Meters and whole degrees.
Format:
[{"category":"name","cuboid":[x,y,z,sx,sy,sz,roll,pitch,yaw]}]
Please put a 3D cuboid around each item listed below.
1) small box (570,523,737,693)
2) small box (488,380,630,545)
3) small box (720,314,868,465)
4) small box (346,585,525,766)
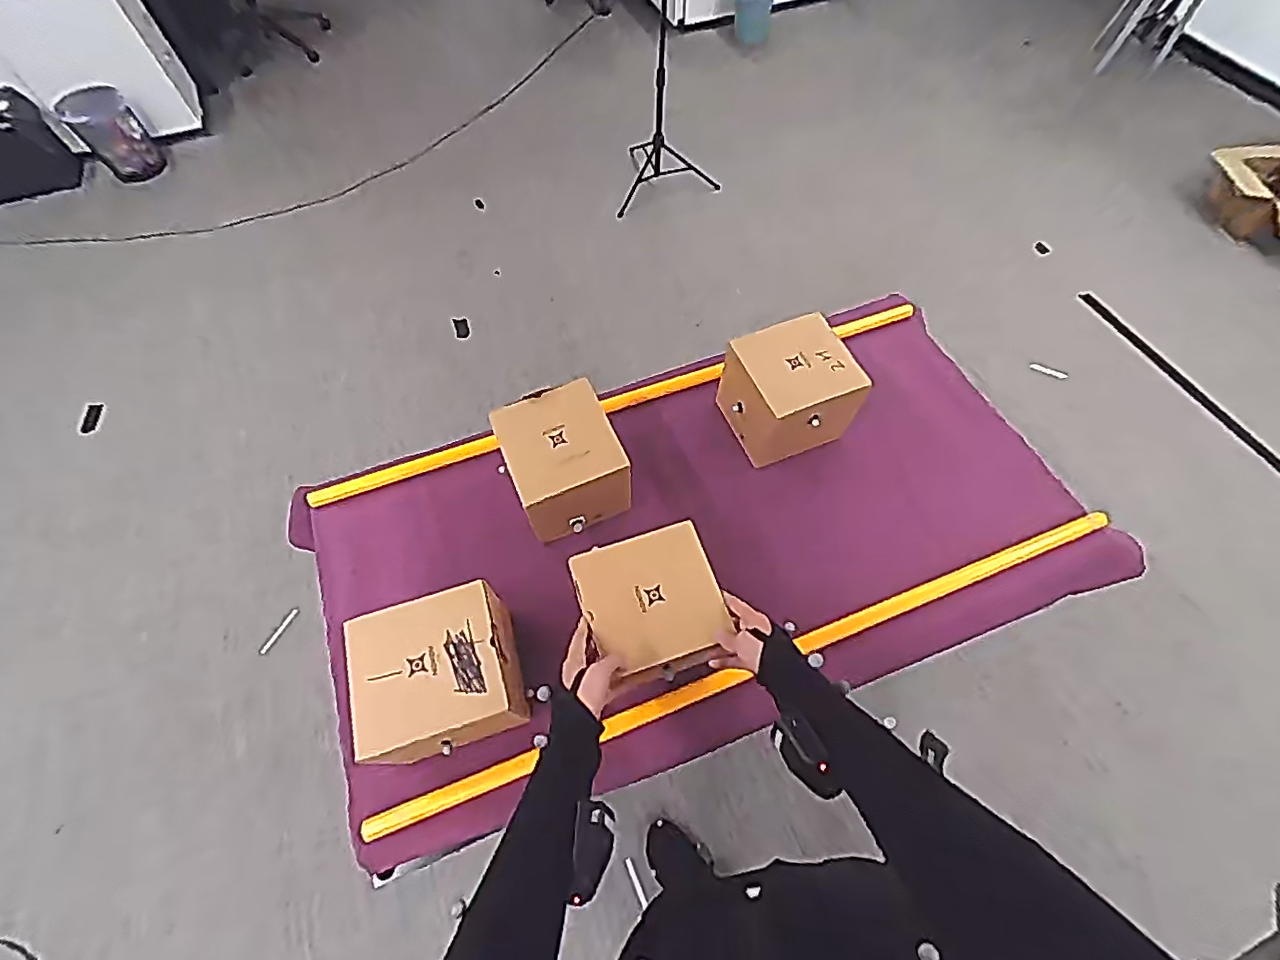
[{"category":"small box","cuboid":[0.013,0.184,0.757,0.179,0.176,0.168,-17,65,-9]},{"category":"small box","cuboid":[-0.125,-0.024,0.869,0.168,0.176,0.179,-23,65,-11]},{"category":"small box","cuboid":[0.250,-0.149,0.937,0.179,0.176,0.168,-20,65,-11]},{"category":"small box","cuboid":[-0.257,0.260,0.714,0.179,0.176,0.168,-16,63,-9]}]
